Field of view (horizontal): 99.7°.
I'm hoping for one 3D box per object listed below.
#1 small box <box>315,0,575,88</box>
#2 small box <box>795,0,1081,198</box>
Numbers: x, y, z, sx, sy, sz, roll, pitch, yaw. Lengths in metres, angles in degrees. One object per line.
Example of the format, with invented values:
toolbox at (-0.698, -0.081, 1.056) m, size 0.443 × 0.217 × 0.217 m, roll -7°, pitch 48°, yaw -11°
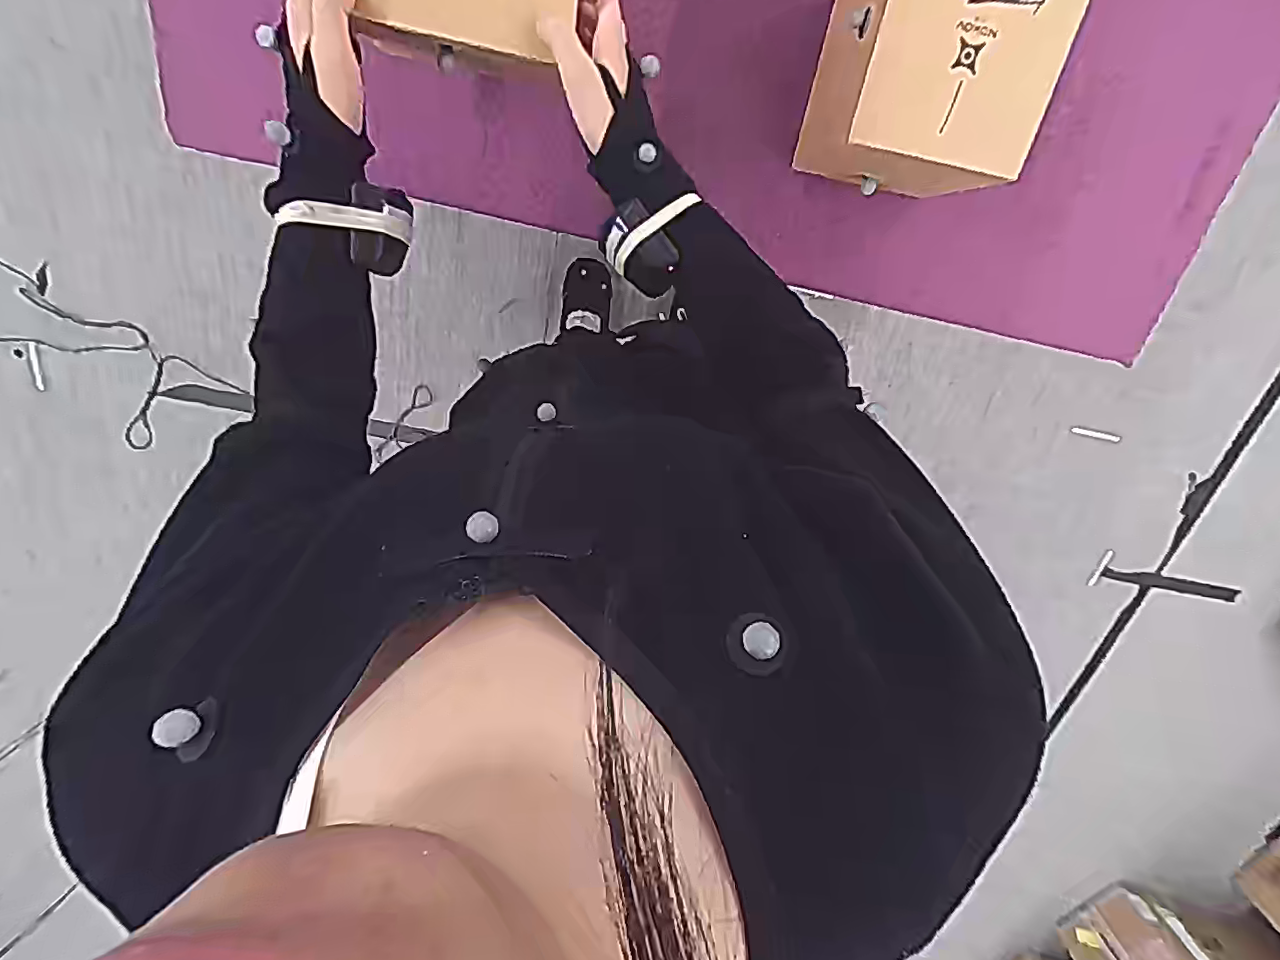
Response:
small box at (-0.135, -0.425, 0.421) m, size 0.179 × 0.176 × 0.168 m, roll 6°, pitch 120°, yaw -10°
small box at (0.270, -0.395, 0.529) m, size 0.168 × 0.176 × 0.179 m, roll 9°, pitch 112°, yaw -6°
